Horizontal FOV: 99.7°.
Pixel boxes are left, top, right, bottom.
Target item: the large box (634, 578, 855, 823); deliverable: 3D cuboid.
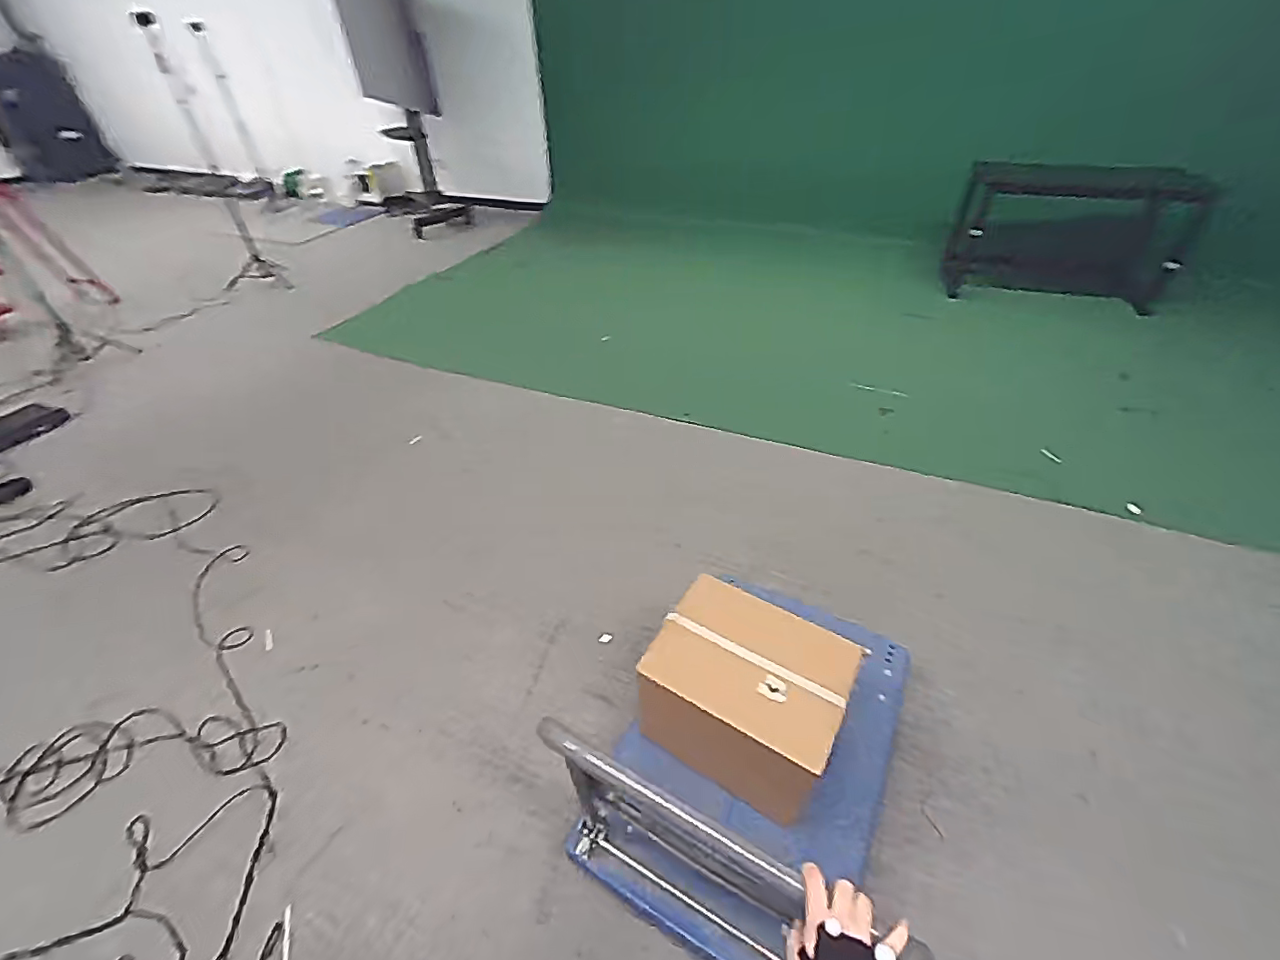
[{"bbox_3d":[0.231,0.507,1.281,0.408,0.320,0.320,22,46,23],"label":"large box"}]
